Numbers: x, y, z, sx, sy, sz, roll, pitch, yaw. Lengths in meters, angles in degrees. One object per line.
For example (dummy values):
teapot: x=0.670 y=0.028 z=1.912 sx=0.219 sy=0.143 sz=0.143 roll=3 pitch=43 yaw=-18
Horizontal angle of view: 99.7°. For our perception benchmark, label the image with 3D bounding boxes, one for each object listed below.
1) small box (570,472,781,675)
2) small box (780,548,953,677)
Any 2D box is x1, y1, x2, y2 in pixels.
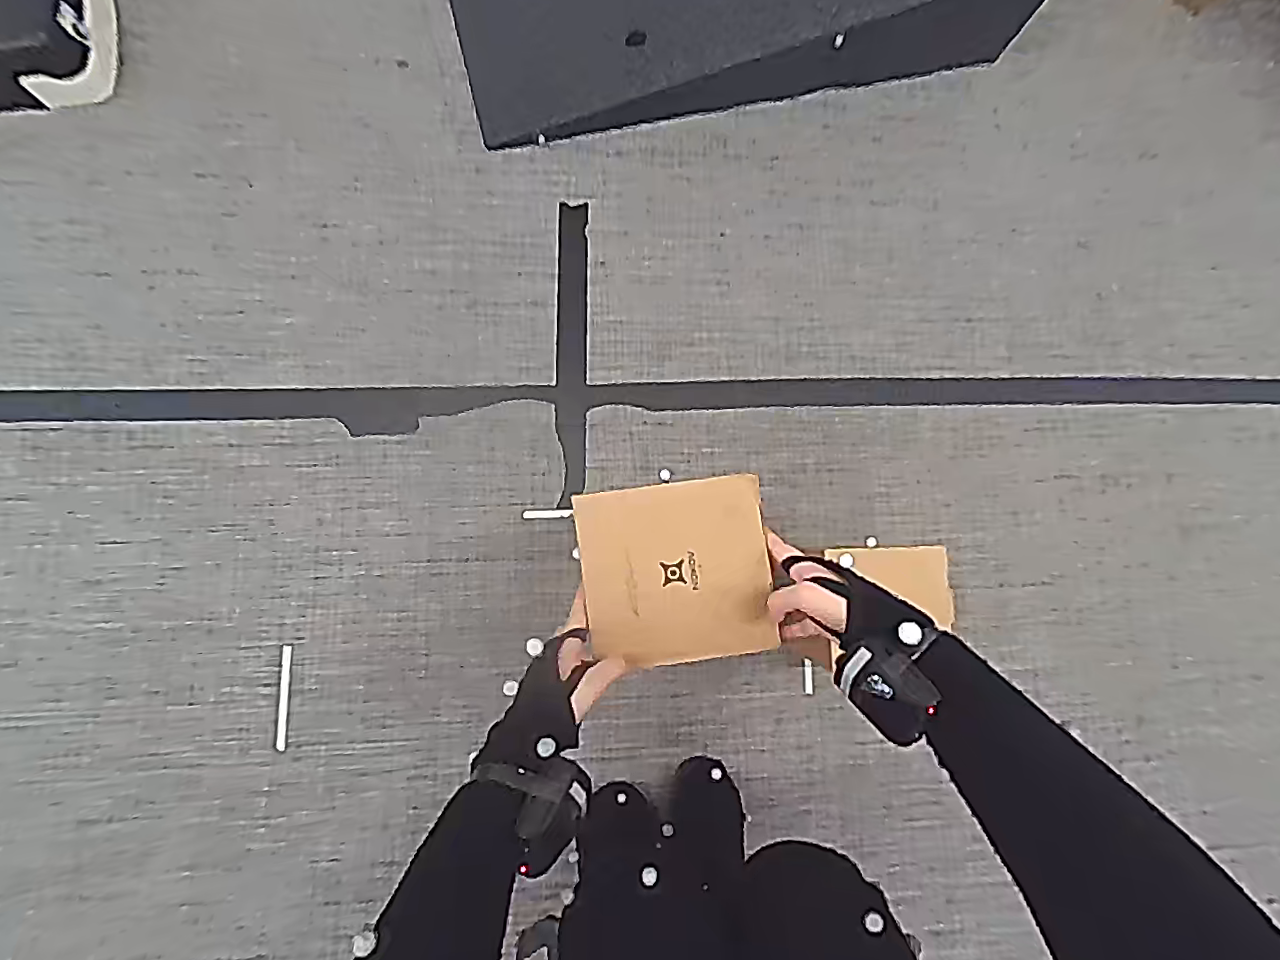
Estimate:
small box: x=0.027 y=0.083 z=0.557 sx=0.179 sy=0.176 sz=0.168 roll=-7 pitch=88 yaw=-3
small box: x=0.324 y=0.185 z=0.801 sx=0.179 sy=0.176 sz=0.168 roll=-1 pitch=83 yaw=-6
